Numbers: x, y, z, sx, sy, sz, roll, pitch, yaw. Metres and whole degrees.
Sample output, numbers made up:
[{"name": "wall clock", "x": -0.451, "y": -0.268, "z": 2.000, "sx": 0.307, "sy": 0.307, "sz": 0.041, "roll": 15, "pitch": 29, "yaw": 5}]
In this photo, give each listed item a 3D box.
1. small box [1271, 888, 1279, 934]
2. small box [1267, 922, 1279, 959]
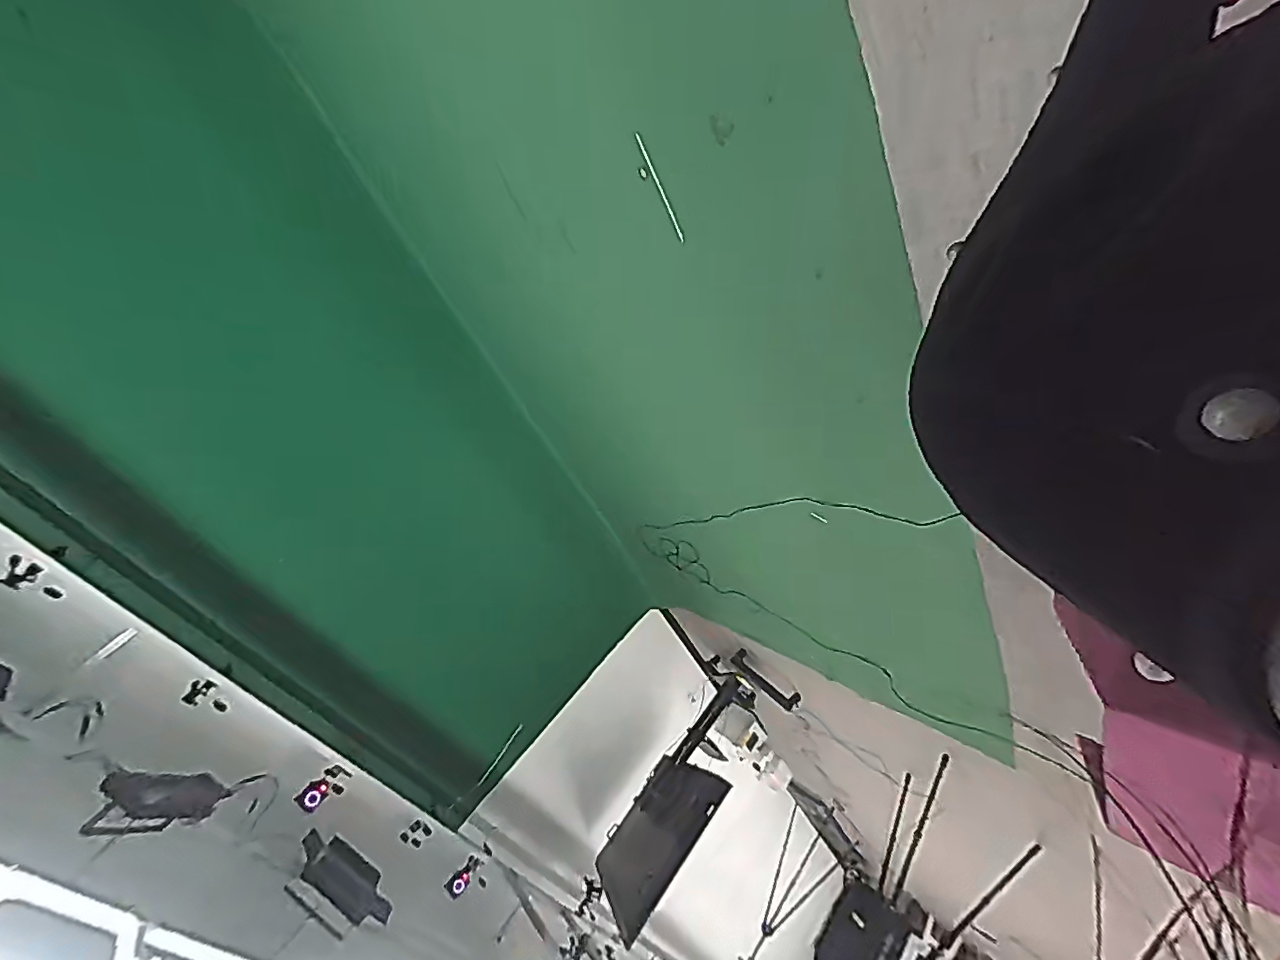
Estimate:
[{"name": "small box", "x": 1.167, "y": 0.690, "z": 0.866, "sx": 0.179, "sy": 0.176, "sz": 0.168, "roll": 11, "pitch": 140, "yaw": 53}, {"name": "small box", "x": 1.054, "y": 0.783, "z": 0.792, "sx": 0.179, "sy": 0.176, "sz": 0.168, "roll": 12, "pitch": 141, "yaw": 51}]
